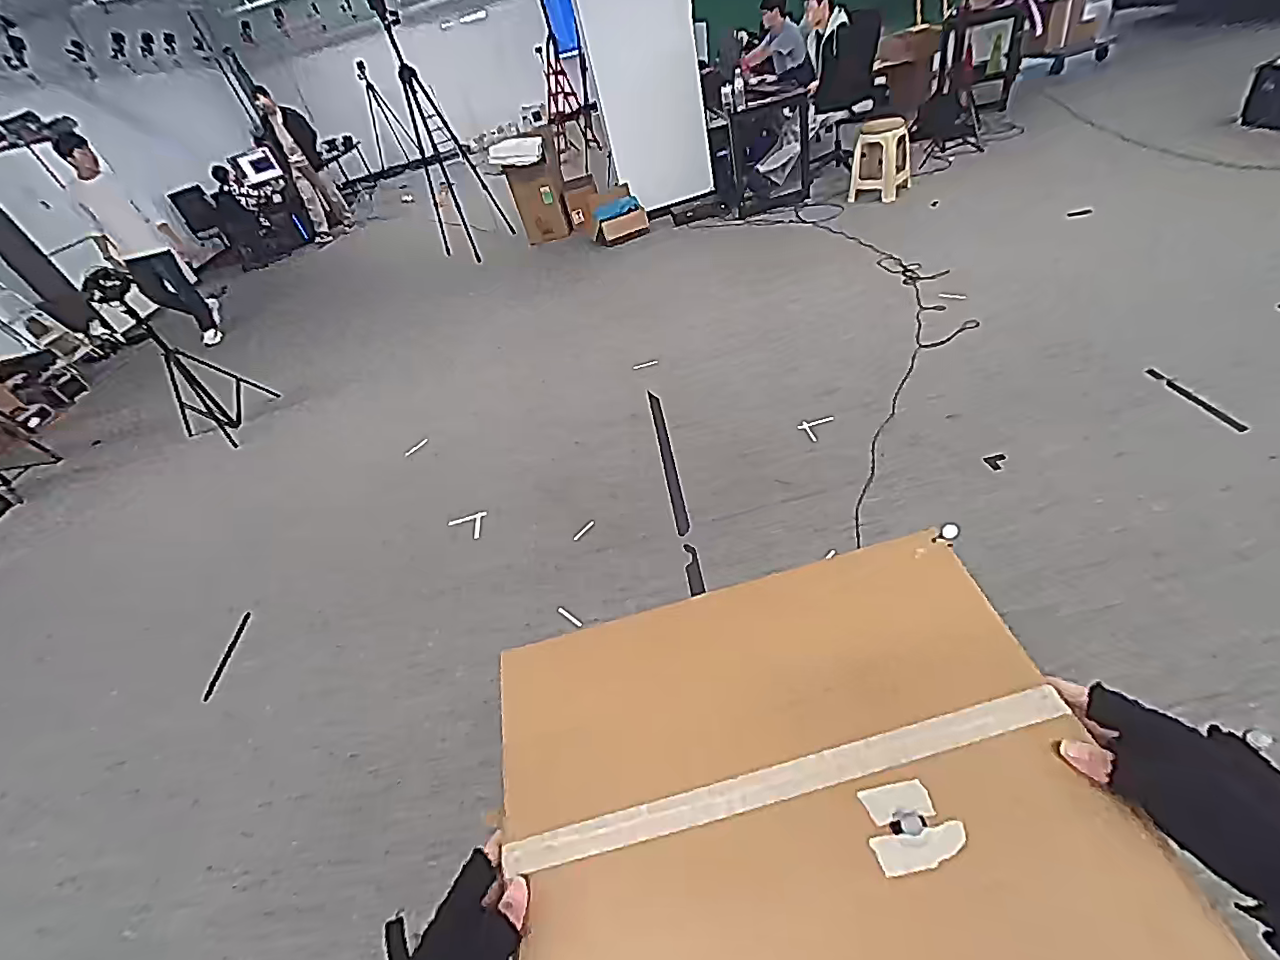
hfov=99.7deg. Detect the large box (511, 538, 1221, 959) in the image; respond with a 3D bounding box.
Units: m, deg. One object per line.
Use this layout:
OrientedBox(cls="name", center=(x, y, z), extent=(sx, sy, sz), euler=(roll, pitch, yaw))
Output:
OrientedBox(cls="large box", center=(0.130, 0.313, 0.507), extent=(0.408, 0.320, 0.320), euler=(-16, 49, -1))
